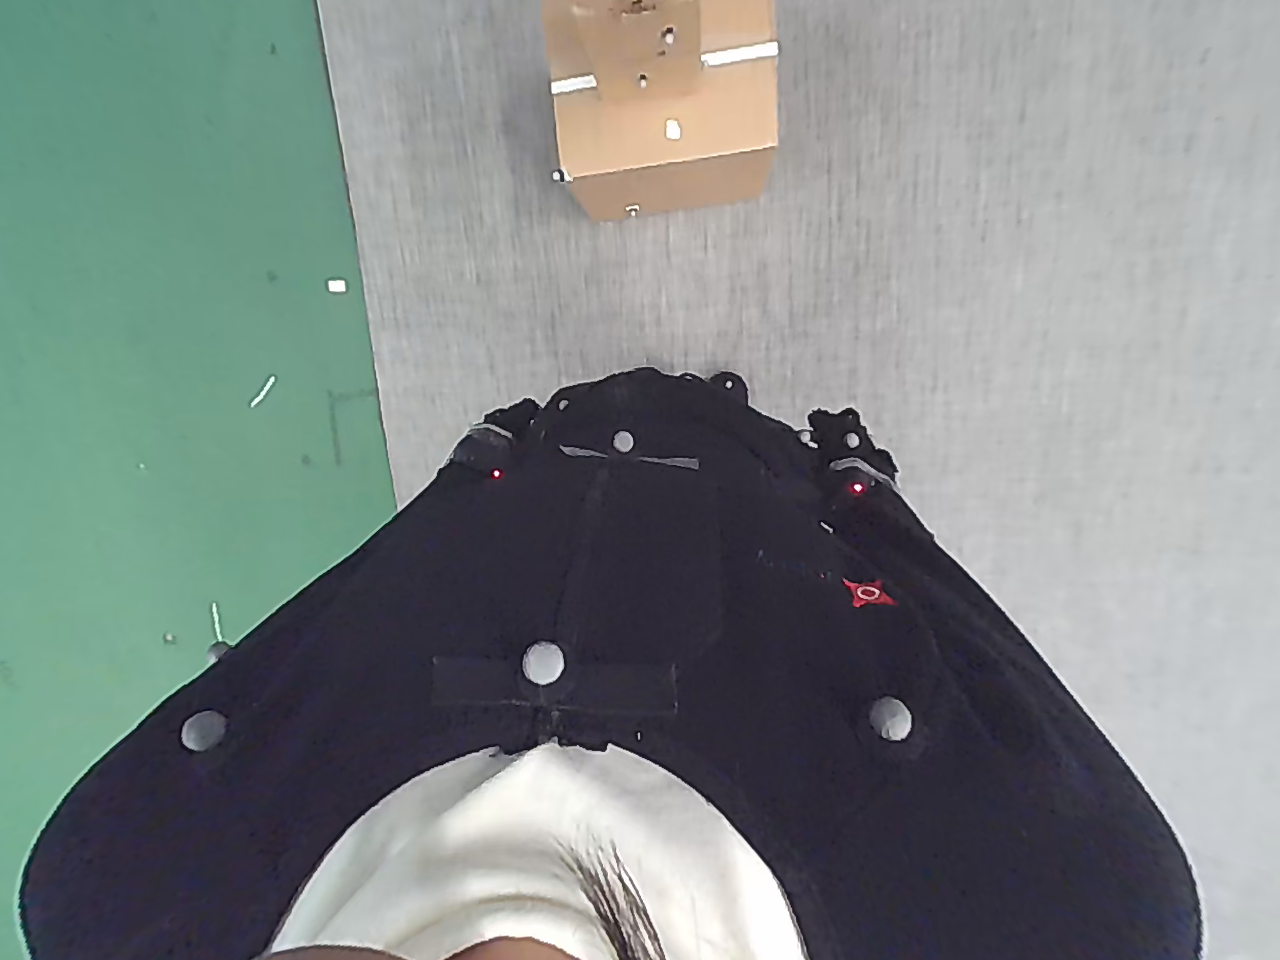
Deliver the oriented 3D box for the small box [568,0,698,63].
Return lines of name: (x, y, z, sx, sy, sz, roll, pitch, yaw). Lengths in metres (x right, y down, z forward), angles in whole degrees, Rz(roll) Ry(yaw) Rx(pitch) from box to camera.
small box: (-0.008, -0.696, 0.726, 0.168, 0.176, 0.179, -4, 106, 6)

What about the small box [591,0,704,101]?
small box: (0.010, -0.747, 0.879, 0.179, 0.176, 0.168, -4, 108, 7)
